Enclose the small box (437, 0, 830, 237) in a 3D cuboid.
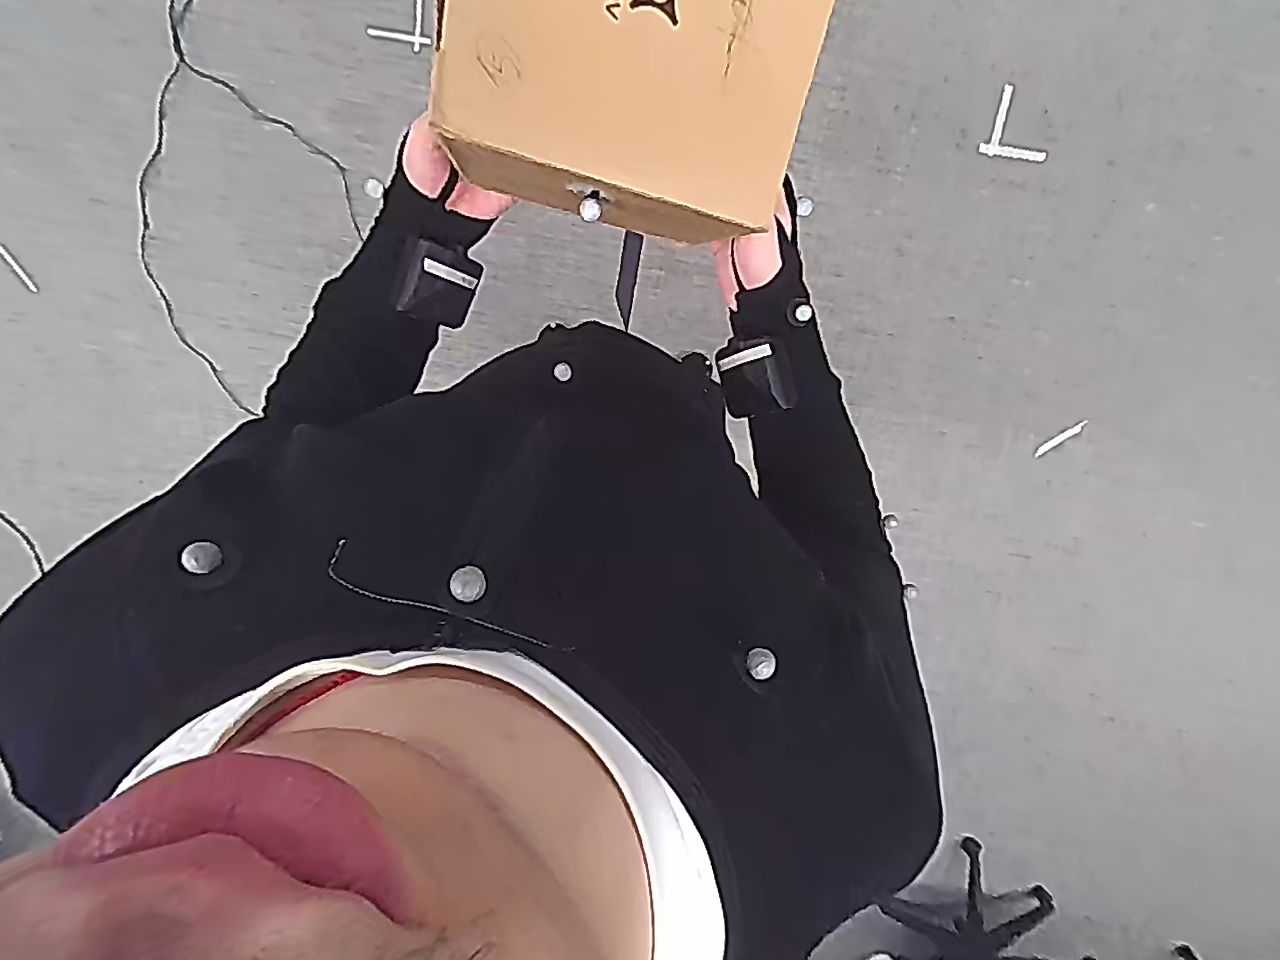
[{"bbox_3d":[-0.009,-0.256,0.327,0.179,0.176,0.168,10,109,-15],"label":"small box"}]
